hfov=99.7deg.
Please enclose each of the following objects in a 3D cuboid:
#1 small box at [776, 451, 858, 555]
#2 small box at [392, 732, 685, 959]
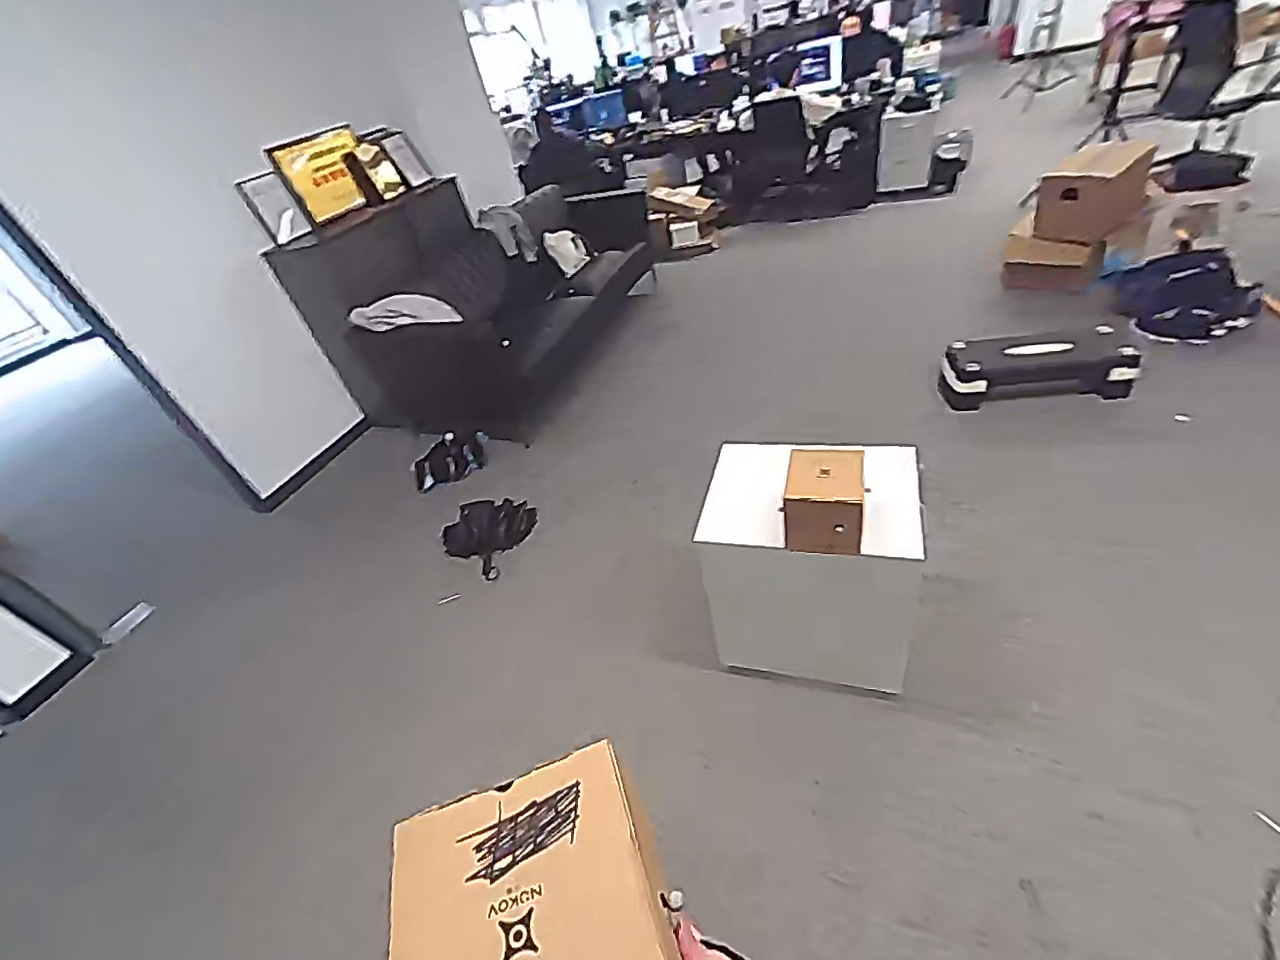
[{"bbox_3d":[0.407,0.052,1.237,0.168,0.176,0.179,3,40,19],"label":"small box"},{"bbox_3d":[-0.063,0.328,0.397,0.168,0.176,0.179,-18,42,-5],"label":"small box"}]
